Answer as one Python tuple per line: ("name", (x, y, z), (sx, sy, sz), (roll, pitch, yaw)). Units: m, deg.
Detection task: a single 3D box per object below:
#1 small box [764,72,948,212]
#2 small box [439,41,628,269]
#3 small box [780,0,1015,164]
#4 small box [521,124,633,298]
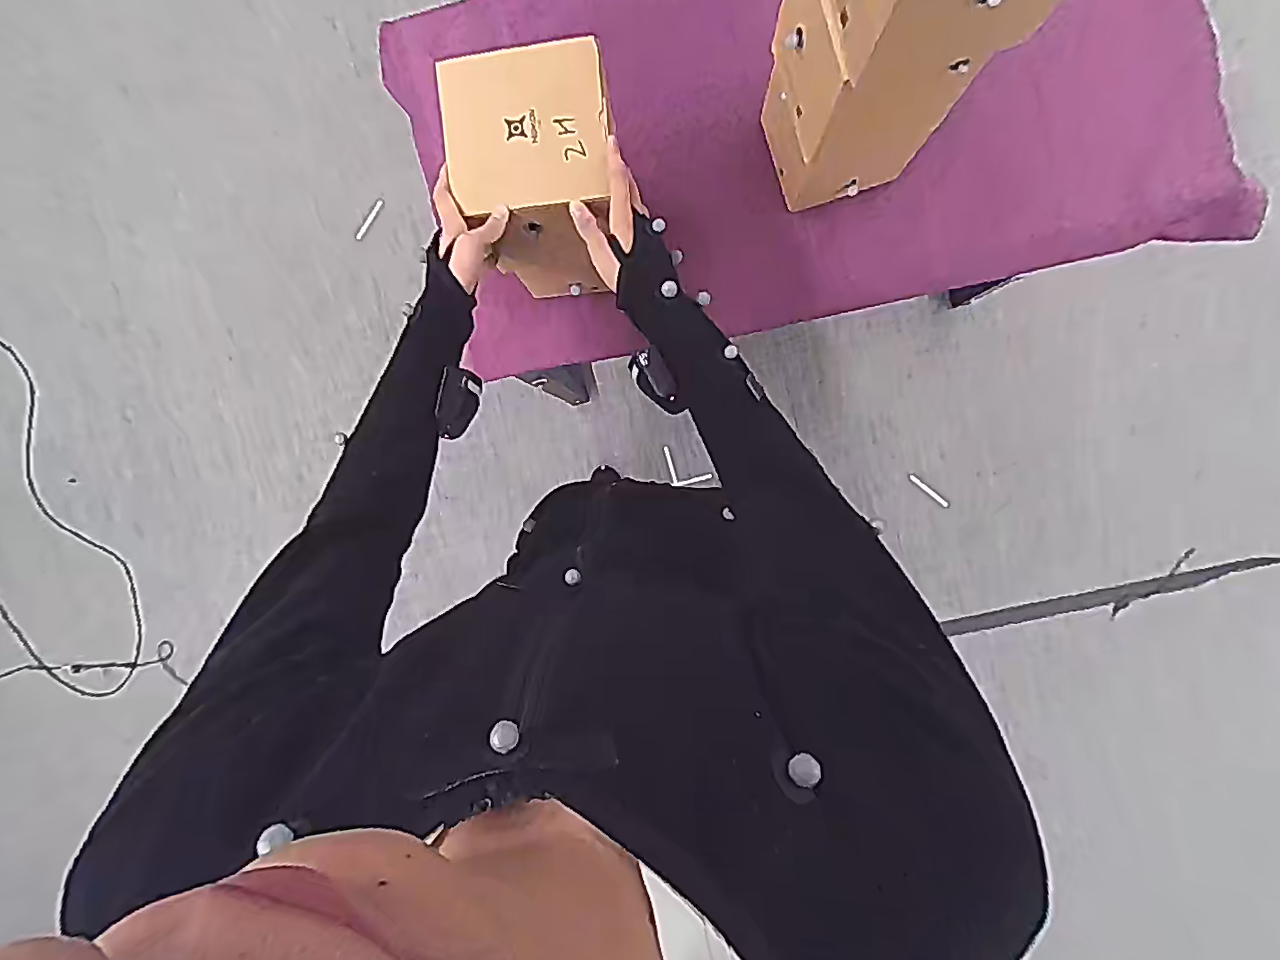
("small box", (0.295, -0.521, 0.776), (0.179, 0.176, 0.168), (-17, 90, 3))
("small box", (-0.114, -0.365, 0.642), (0.179, 0.176, 0.168), (-5, 92, 4))
("small box", (0.269, -0.500, 0.615), (0.179, 0.176, 0.168), (-16, 91, 3))
("small box", (-0.101, -0.389, 0.804), (0.168, 0.176, 0.179), (-4, 92, 4))
